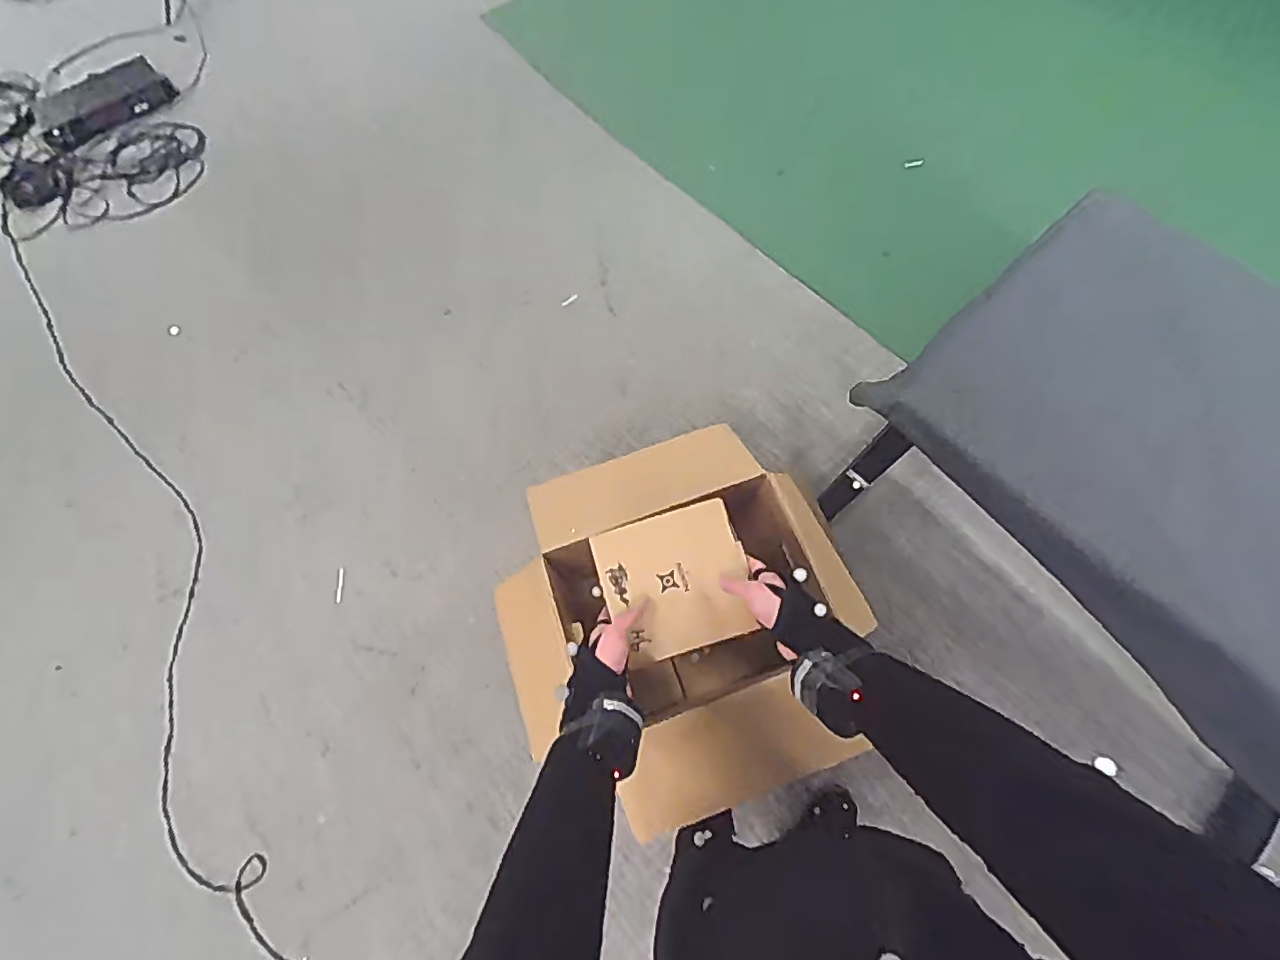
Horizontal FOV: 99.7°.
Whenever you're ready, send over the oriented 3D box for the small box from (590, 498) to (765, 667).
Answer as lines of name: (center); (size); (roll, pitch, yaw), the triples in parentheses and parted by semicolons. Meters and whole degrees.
small box: (0.043, 0.142, 0.720); (0.179, 0.176, 0.168); (-16, 71, -4)
